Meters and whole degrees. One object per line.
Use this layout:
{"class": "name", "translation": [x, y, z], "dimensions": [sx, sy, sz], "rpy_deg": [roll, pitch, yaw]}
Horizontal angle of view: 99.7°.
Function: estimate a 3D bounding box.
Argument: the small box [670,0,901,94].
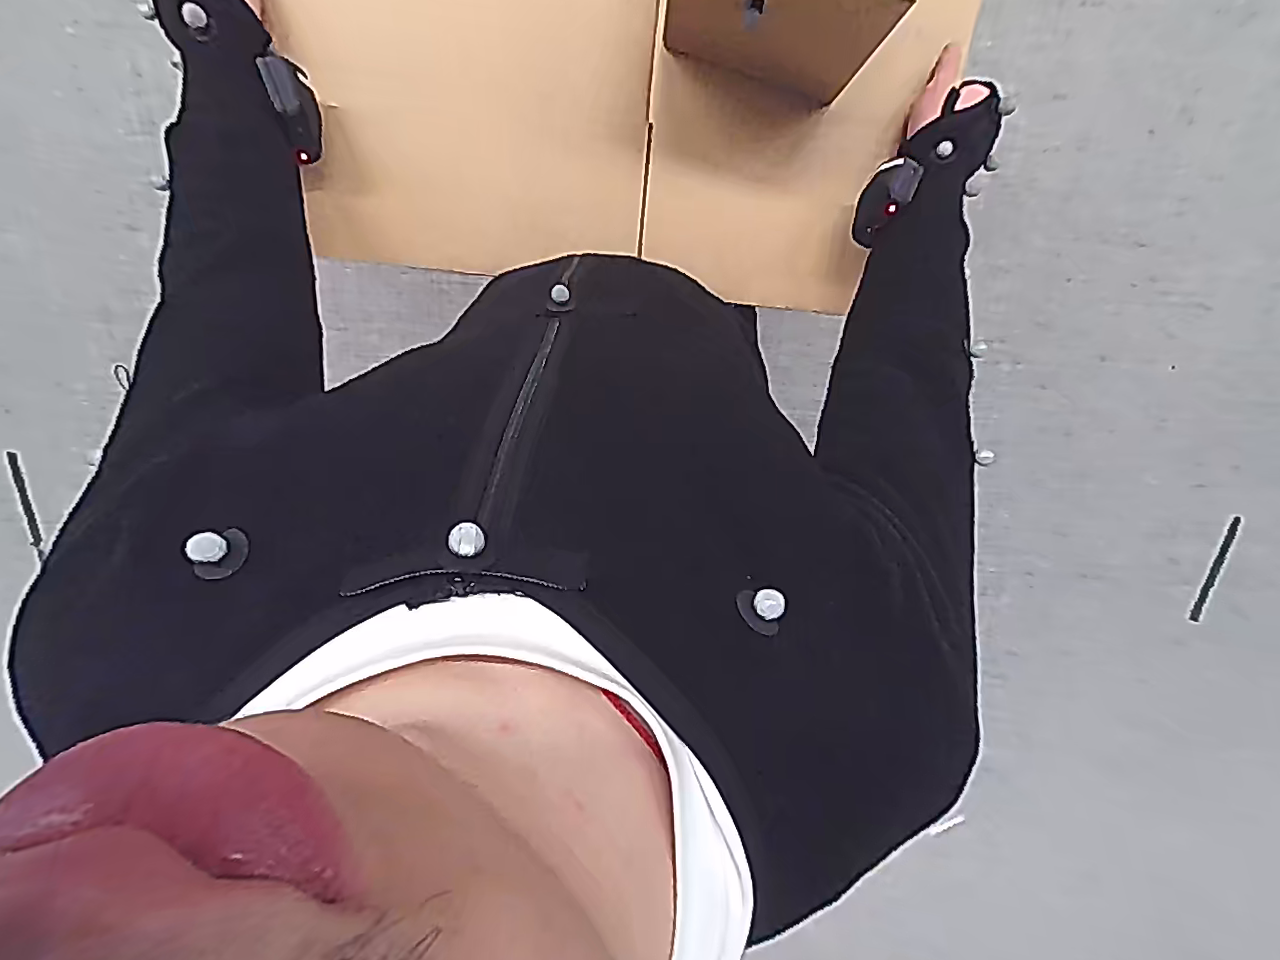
{"class": "small box", "translation": [0.128, -0.449, 0.429], "dimensions": [0.179, 0.176, 0.168], "rpy_deg": [16, 104, -3]}
